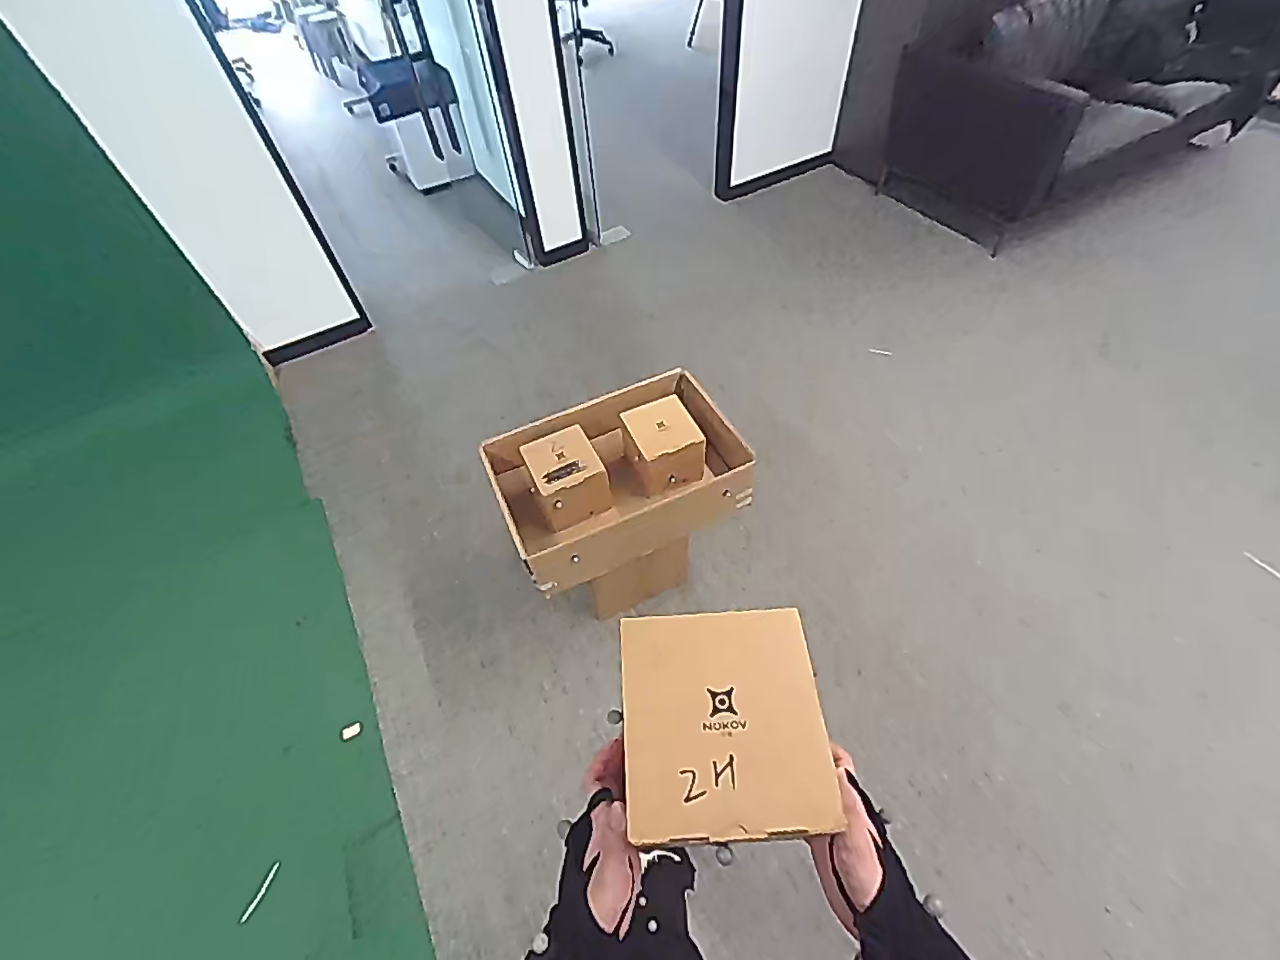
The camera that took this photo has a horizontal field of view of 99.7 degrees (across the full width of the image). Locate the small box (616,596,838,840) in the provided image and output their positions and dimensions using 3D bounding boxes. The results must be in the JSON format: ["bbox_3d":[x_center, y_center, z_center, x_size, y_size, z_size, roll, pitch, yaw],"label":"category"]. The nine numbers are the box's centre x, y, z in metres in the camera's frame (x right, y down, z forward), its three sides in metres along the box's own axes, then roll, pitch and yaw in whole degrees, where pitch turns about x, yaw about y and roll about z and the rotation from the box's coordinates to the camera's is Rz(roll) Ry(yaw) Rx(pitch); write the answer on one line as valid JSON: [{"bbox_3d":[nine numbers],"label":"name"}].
[{"bbox_3d":[0.063,0.226,0.507,0.168,0.176,0.179,-4,55,0],"label":"small box"}]

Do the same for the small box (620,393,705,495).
[{"bbox_3d":[0.057,-0.093,1.427,0.168,0.176,0.179,-21,55,-12],"label":"small box"}]
